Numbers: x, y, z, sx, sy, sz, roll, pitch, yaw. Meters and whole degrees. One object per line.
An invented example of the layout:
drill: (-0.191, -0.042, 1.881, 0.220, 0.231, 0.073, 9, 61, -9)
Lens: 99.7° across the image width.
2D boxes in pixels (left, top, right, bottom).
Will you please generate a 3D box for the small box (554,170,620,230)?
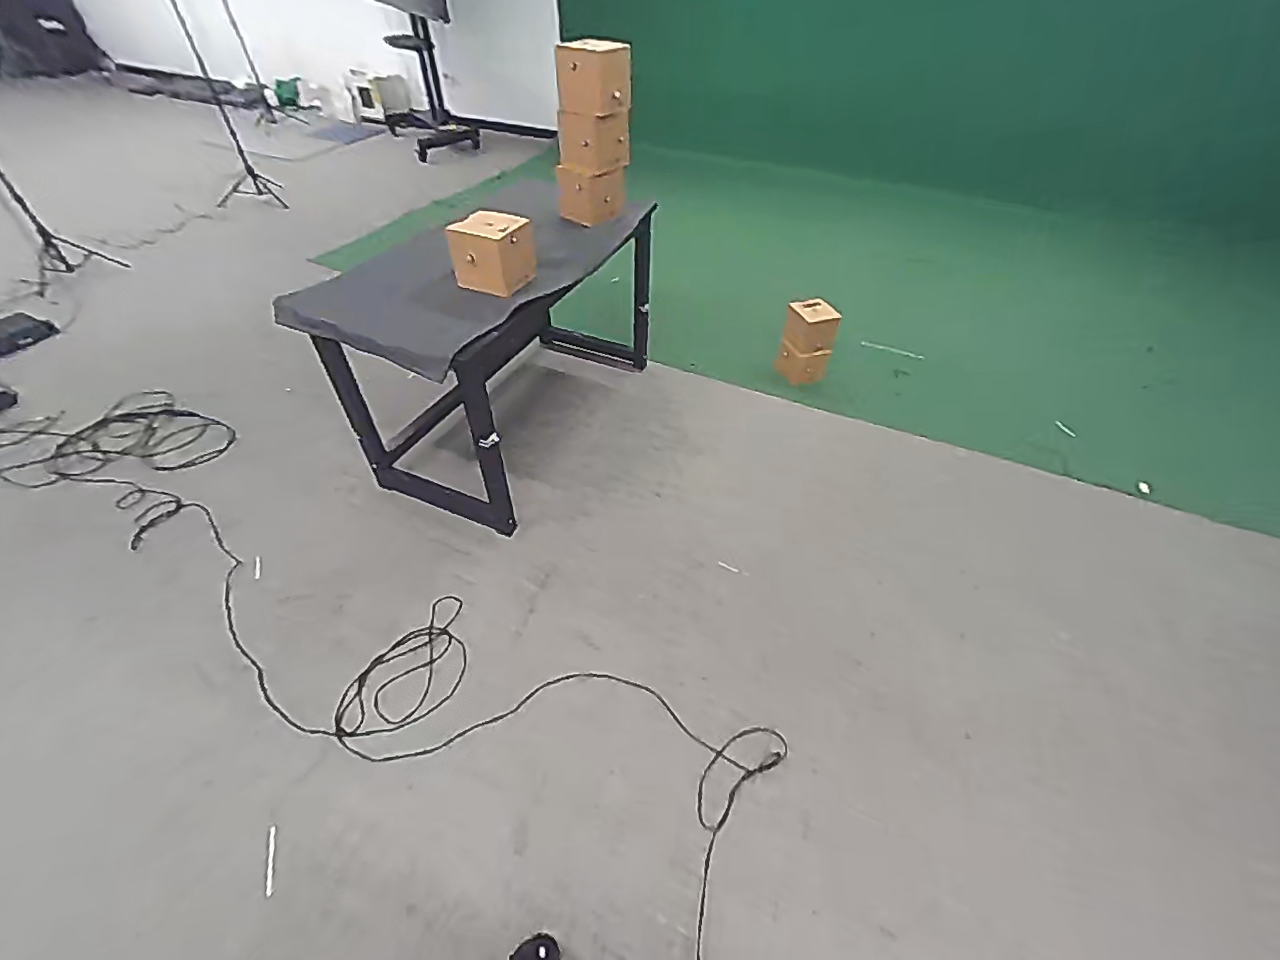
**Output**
small box: (-0.183, -1.014, 1.933, 0.179, 0.176, 0.168, 34, 54, 31)

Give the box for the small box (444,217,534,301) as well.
small box: (-0.428, -0.637, 1.563, 0.179, 0.176, 0.168, 18, 47, 17)

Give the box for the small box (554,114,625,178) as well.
small box: (-0.165, -1.137, 1.828, 0.179, 0.176, 0.168, 29, 51, 28)

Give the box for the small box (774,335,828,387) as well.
small box: (0.749, -0.549, 2.532, 0.168, 0.176, 0.179, -14, 47, -14)

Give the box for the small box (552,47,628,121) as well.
small box: (-0.156, -1.256, 1.715, 0.179, 0.176, 0.168, 25, 50, 23)
